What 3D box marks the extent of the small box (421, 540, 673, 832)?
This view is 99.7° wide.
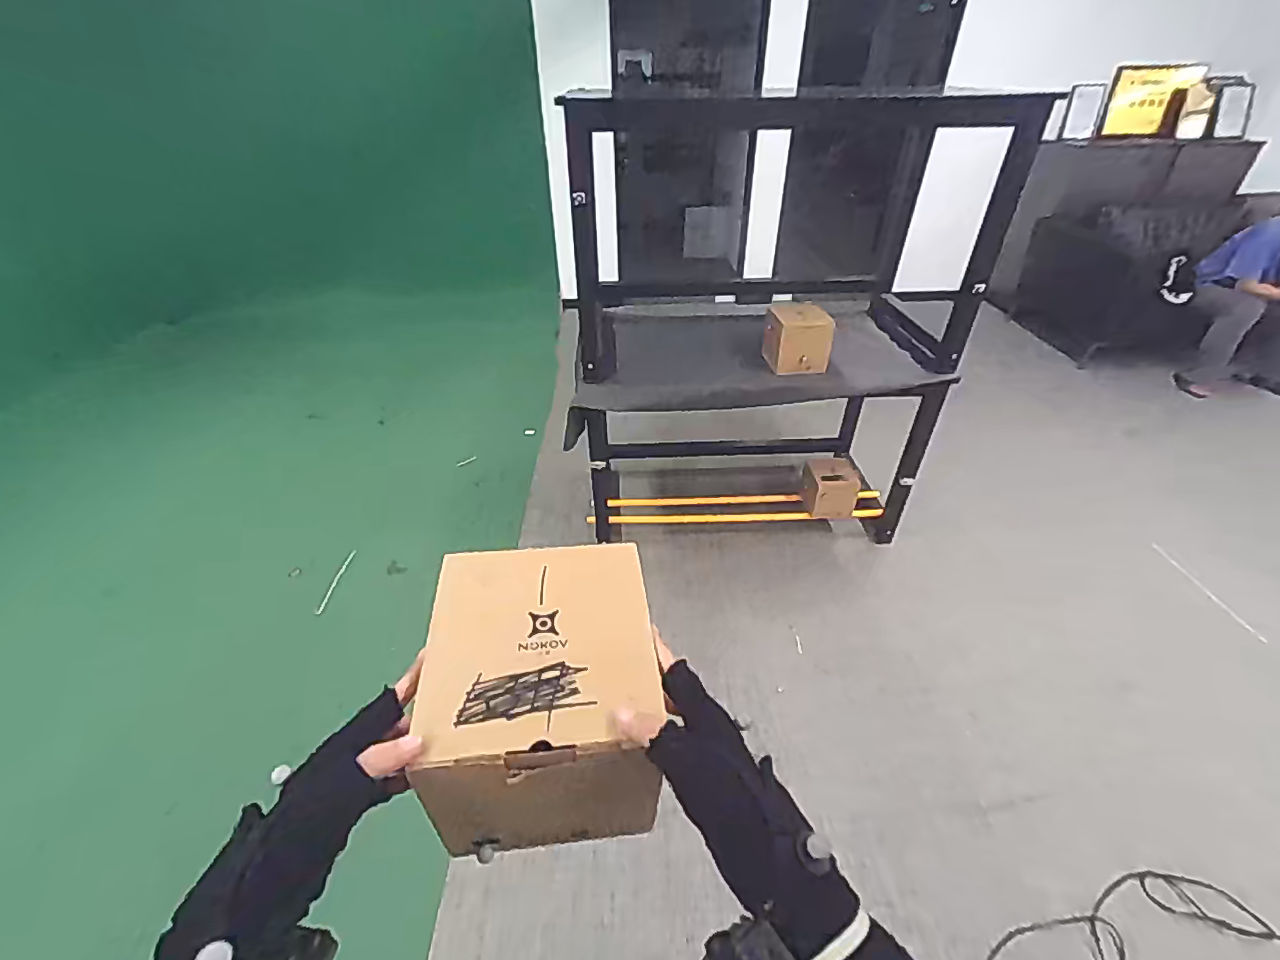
[{"bbox_3d":[-0.069,0.173,0.459,0.168,0.176,0.179,-1,38,-7],"label":"small box"}]

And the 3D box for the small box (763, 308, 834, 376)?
[{"bbox_3d":[0.508,-0.450,1.768,0.168,0.176,0.179,-3,36,-3],"label":"small box"}]
